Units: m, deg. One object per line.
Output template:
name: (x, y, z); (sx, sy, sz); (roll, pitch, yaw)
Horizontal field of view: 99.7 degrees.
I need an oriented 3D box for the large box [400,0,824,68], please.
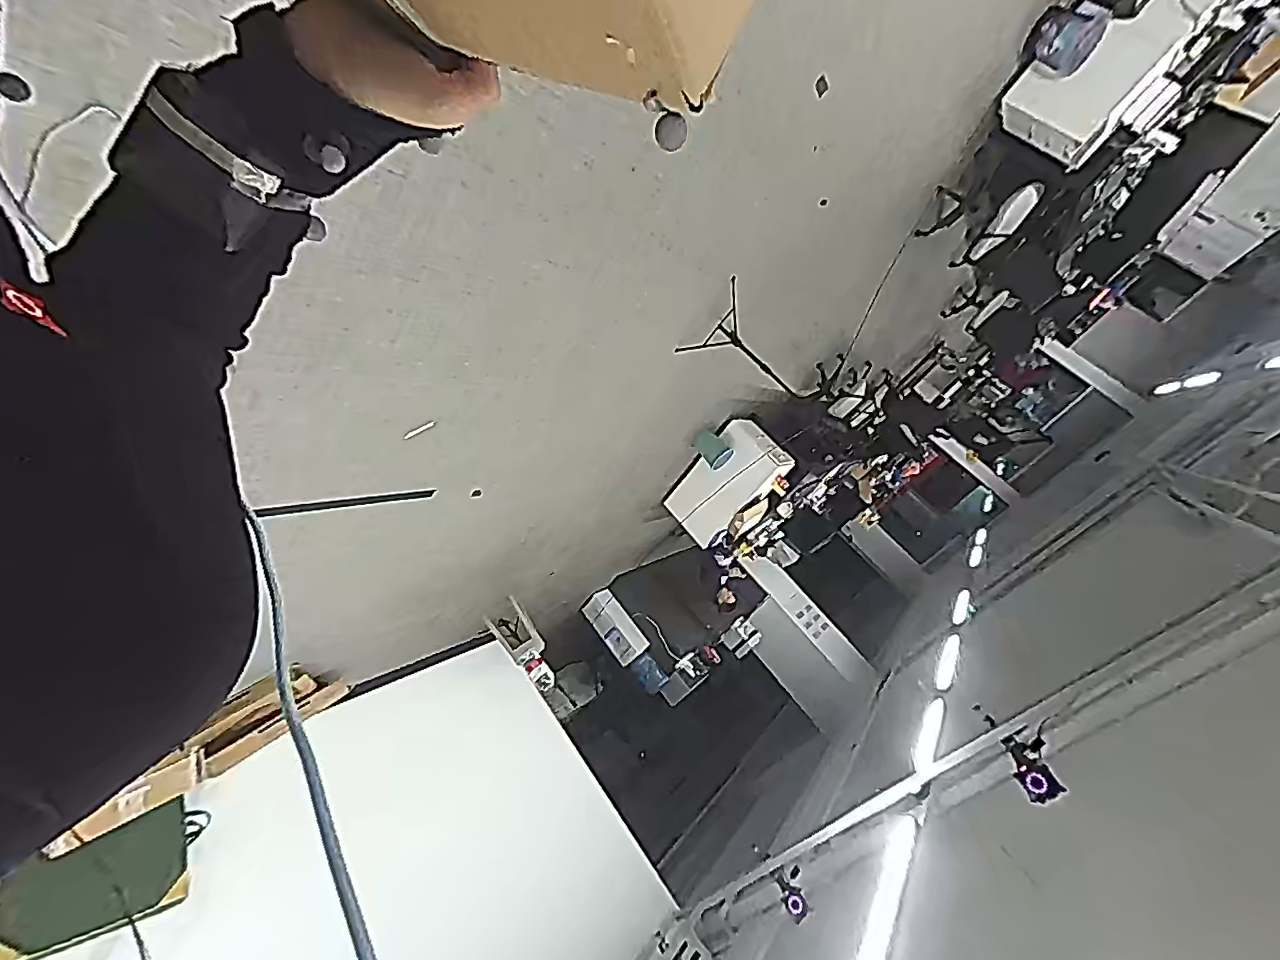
large box: (-0.066, -0.379, 0.067); (0.320, 0.320, 0.408); (-58, 156, 6)
